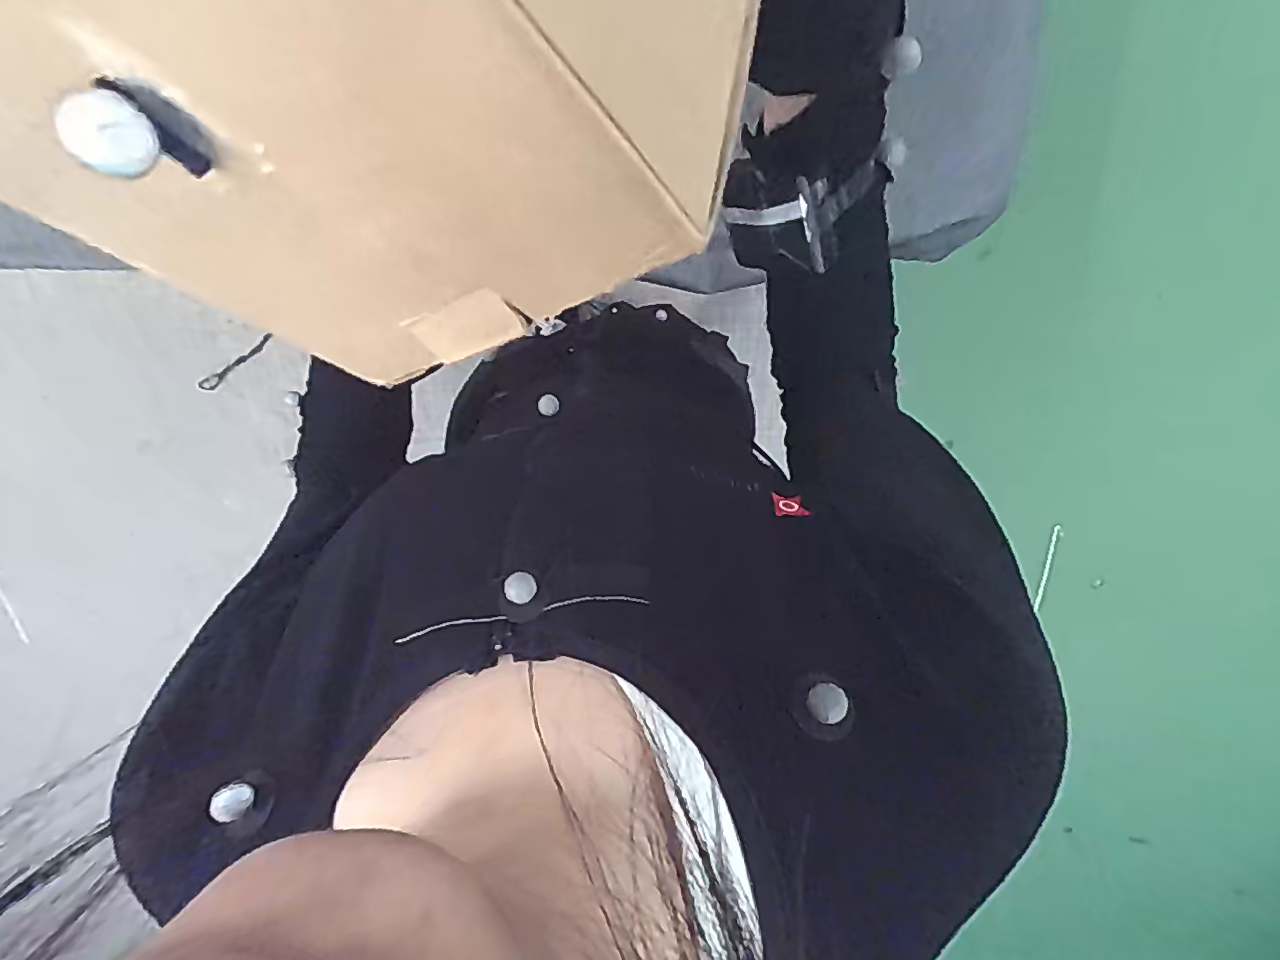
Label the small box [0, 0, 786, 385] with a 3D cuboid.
[{"bbox_3d":[-0.073,-0.155,0.141,0.168,0.179,0.176,-6,154,39],"label":"small box"}]
